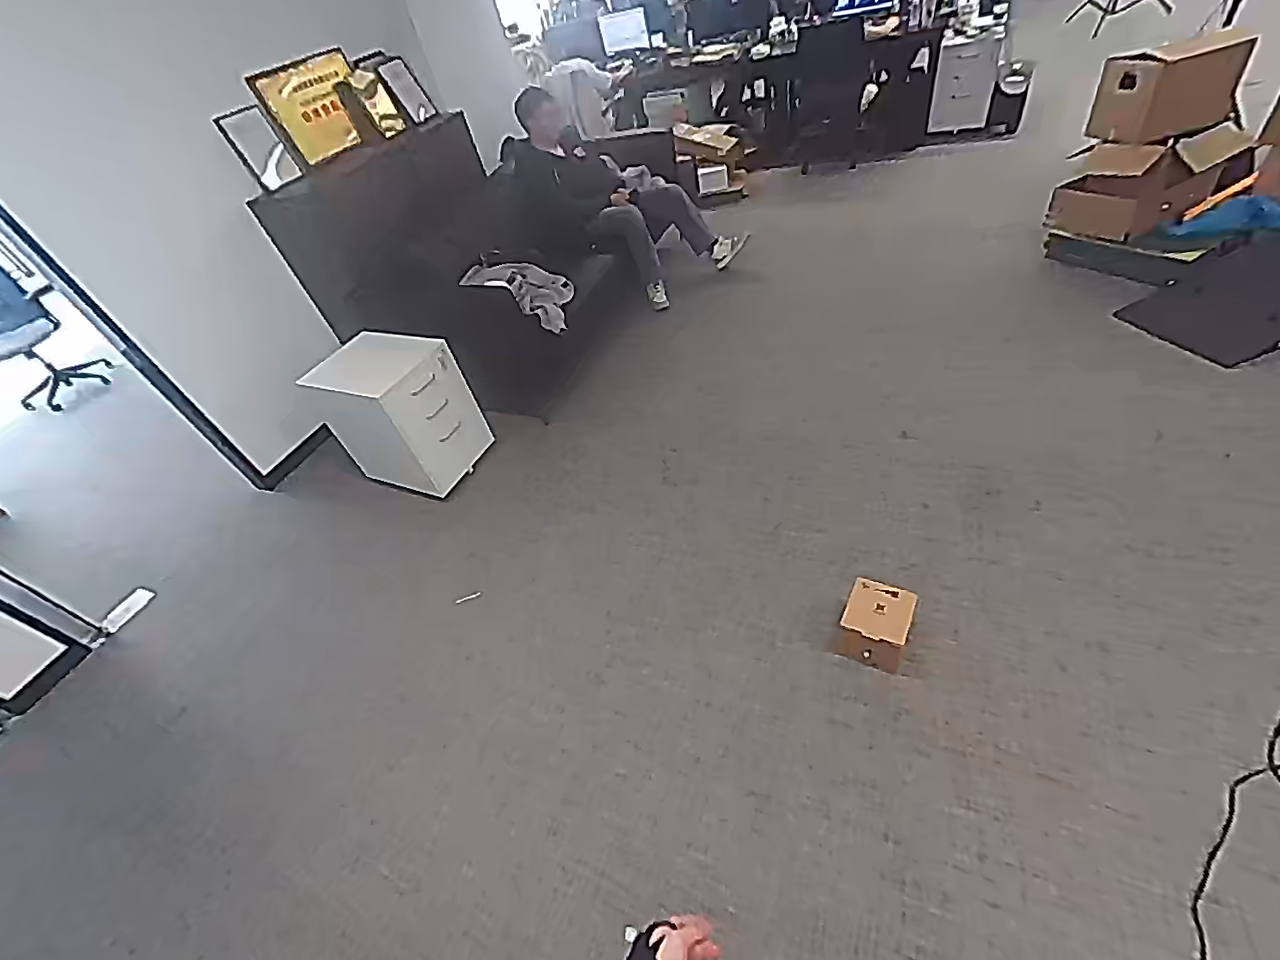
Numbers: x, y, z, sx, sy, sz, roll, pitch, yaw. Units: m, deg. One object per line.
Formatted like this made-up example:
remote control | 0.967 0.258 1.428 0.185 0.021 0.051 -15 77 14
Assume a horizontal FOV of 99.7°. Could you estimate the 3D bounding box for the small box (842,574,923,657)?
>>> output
small box | 0.690 0.394 1.555 0.179 0.176 0.168 -9 42 10
